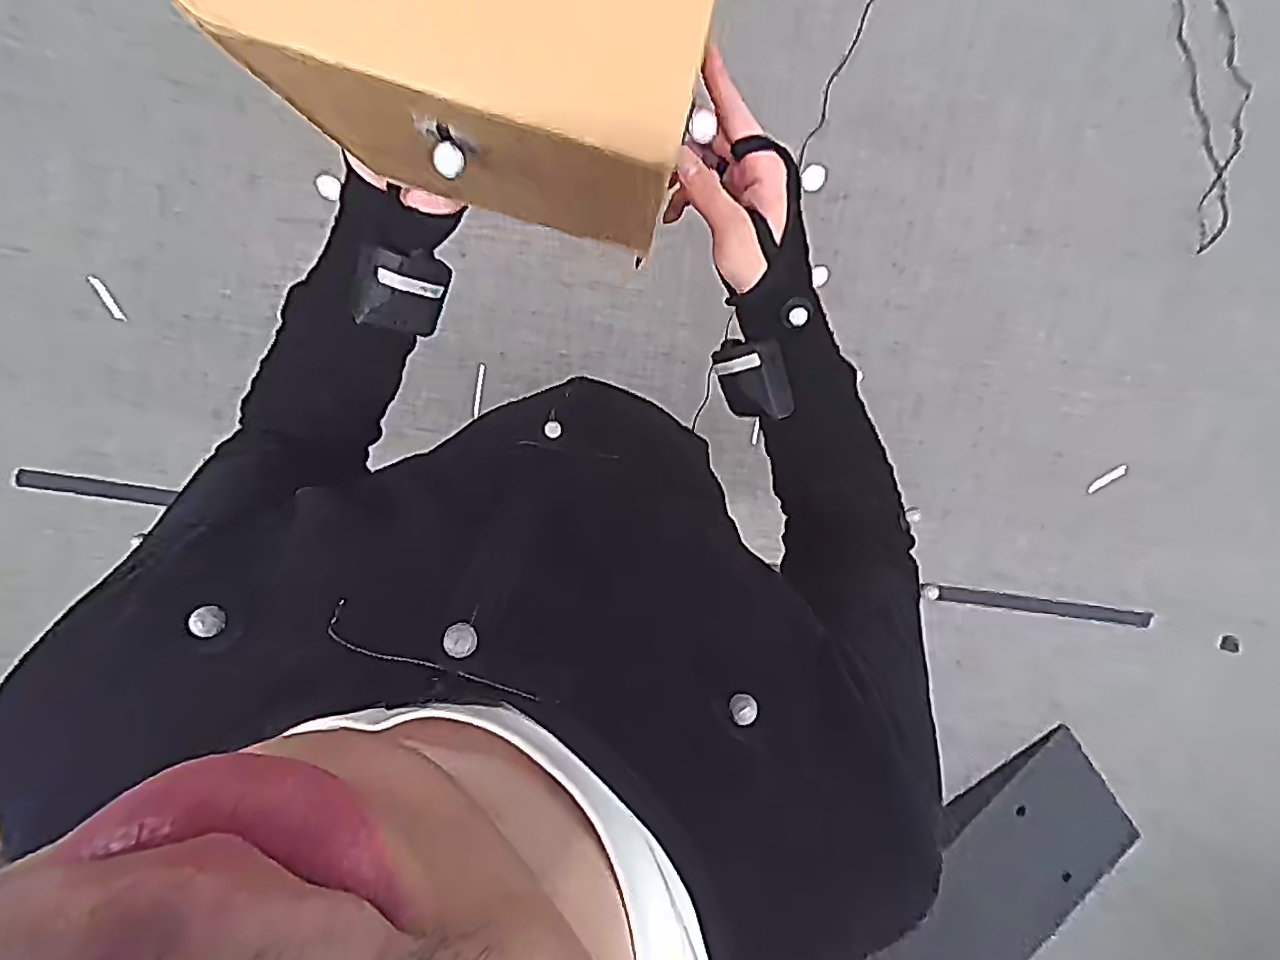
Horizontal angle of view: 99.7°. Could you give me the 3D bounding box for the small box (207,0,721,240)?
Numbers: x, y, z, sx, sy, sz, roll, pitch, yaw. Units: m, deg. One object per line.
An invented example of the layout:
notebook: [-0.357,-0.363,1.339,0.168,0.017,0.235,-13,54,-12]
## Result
small box: [-0.052,-0.234,0.259,0.179,0.176,0.168,14,101,-6]
